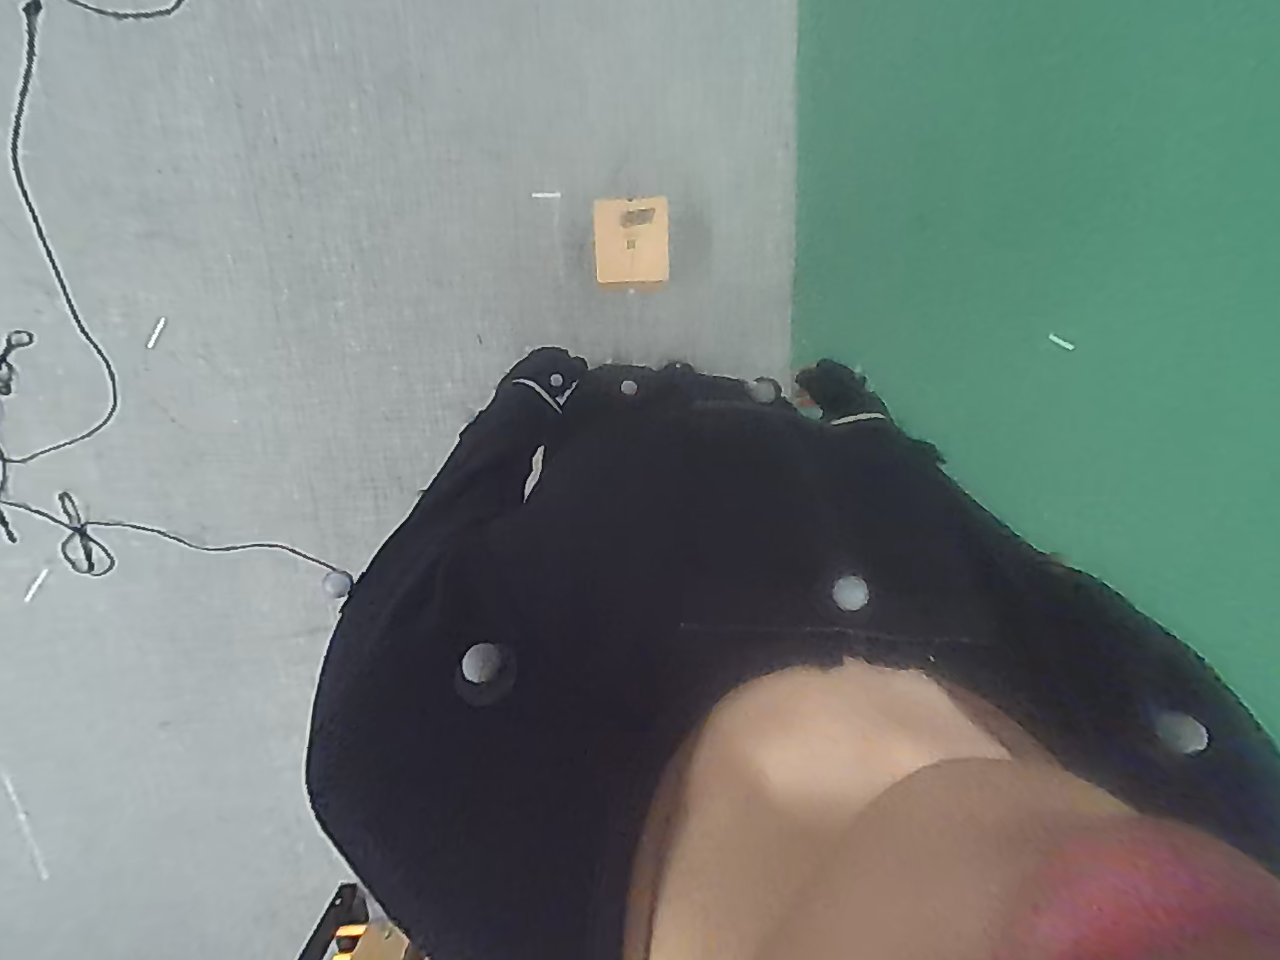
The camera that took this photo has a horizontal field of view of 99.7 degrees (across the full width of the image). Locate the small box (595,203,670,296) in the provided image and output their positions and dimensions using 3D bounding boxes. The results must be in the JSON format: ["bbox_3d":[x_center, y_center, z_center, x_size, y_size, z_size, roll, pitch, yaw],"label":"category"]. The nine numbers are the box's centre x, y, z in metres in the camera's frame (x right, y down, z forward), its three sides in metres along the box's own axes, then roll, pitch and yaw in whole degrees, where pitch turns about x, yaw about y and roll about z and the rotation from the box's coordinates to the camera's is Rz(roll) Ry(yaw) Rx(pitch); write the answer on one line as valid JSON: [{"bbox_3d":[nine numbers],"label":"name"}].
[{"bbox_3d":[-0.017,-0.538,1.278,0.168,0.176,0.179,-2,104,1],"label":"small box"}]
